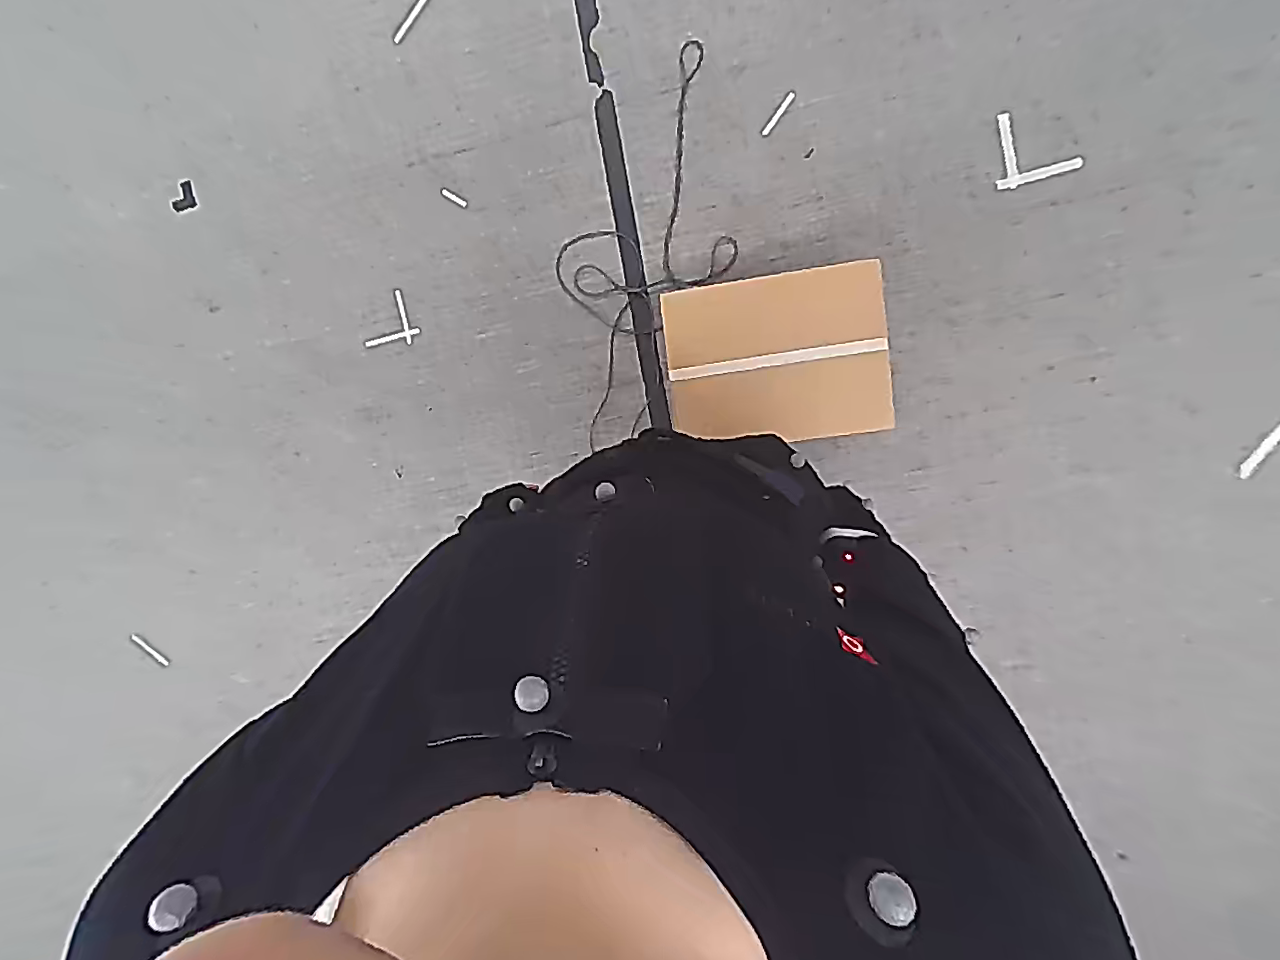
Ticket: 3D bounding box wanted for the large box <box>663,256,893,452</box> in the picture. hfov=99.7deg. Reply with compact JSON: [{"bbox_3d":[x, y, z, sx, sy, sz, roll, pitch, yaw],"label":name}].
[{"bbox_3d":[0.275,-0.248,1.170,0.408,0.320,0.320,-7,97,7],"label":"large box"}]
